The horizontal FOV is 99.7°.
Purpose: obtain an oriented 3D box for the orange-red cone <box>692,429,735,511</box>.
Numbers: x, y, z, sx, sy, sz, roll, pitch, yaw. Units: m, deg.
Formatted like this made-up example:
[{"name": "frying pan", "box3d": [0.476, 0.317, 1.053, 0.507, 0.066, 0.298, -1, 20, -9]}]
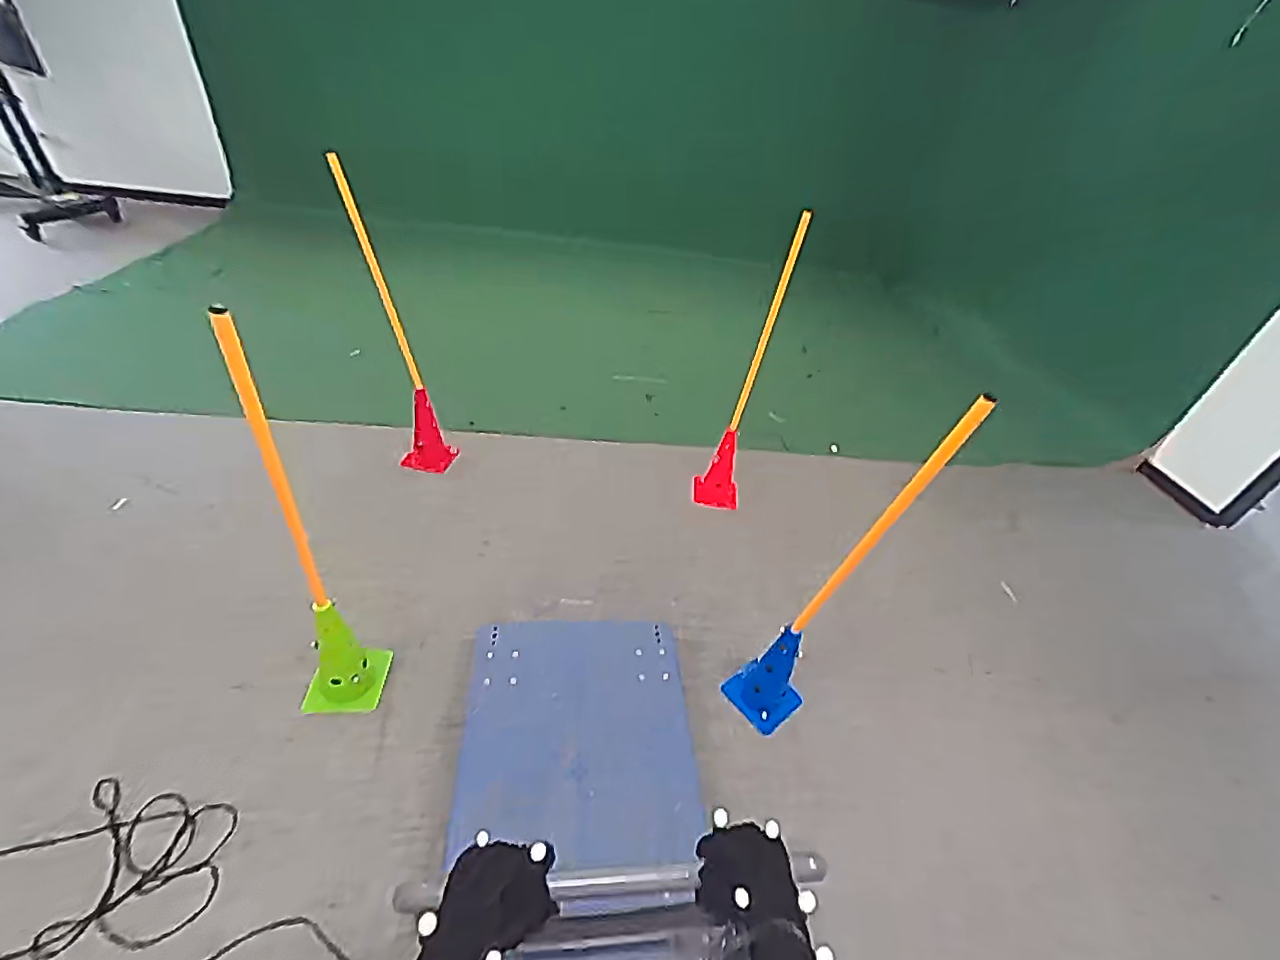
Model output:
[{"name": "orange-red cone", "box3d": [0.358, -0.067, 2.365, 0.198, 0.360, 0.199, 10, 39, 2]}]
